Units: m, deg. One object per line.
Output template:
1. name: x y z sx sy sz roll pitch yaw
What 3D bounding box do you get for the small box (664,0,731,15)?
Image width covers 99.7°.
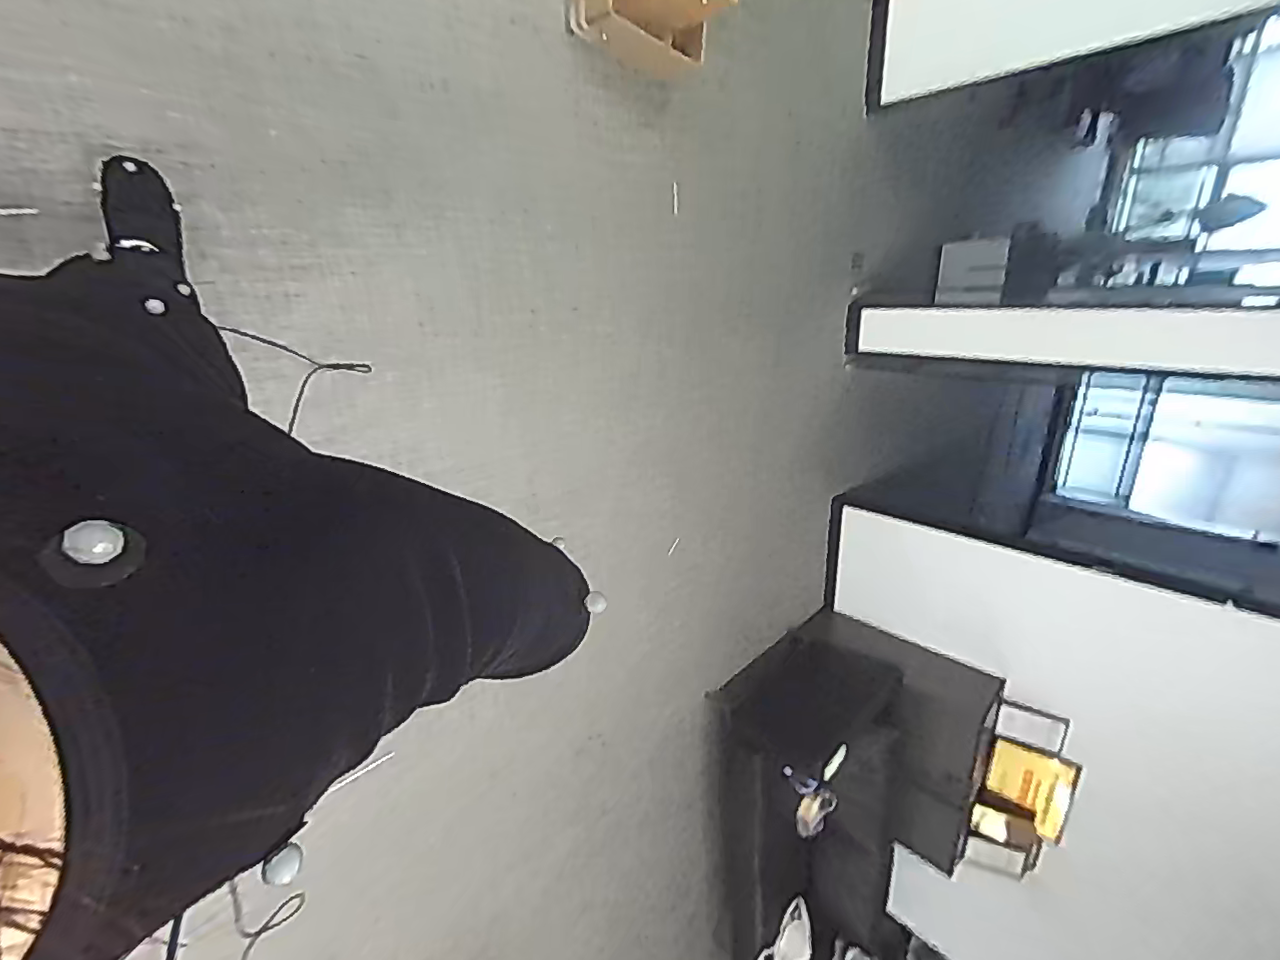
1. small box: 0.151 -1.401 1.454 0.179 0.176 0.168 -12 111 -40
